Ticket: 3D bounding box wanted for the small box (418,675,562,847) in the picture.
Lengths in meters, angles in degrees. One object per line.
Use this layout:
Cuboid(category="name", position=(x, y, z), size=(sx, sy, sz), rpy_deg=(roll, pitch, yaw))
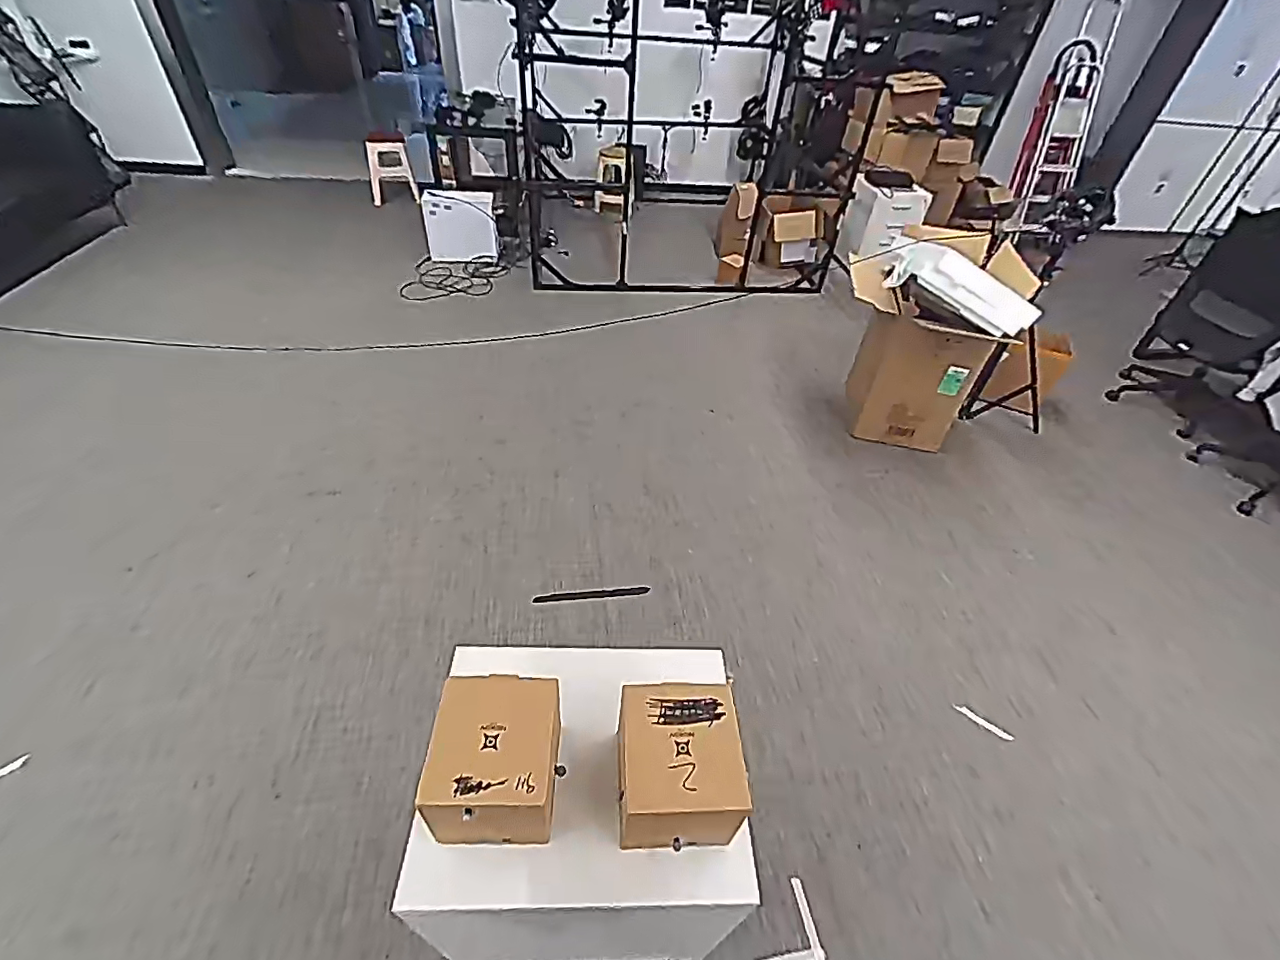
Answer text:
Cuboid(category="small box", position=(-0.206, 0.412, 0.796), size=(0.168, 0.176, 0.179), rpy_deg=(3, 41, -3))
